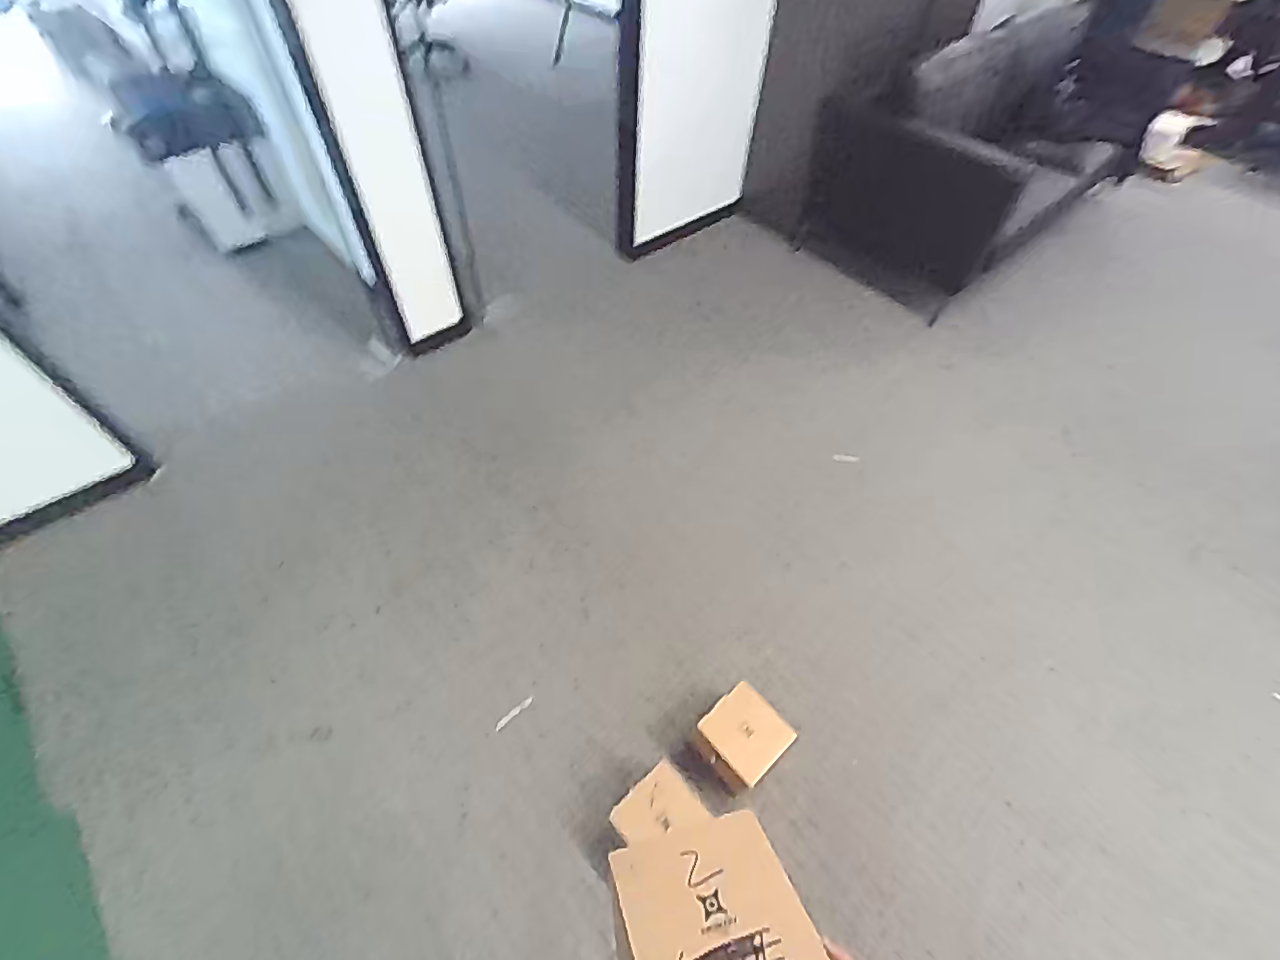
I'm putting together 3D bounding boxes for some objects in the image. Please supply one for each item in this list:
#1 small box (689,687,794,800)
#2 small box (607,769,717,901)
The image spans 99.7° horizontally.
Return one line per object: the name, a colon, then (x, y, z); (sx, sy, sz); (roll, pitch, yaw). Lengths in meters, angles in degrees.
small box: (0.240, 0.647, 1.317); (0.168, 0.176, 0.179); (-34, 60, -26)
small box: (0.044, 0.782, 1.195); (0.168, 0.176, 0.179); (-34, 60, -26)
